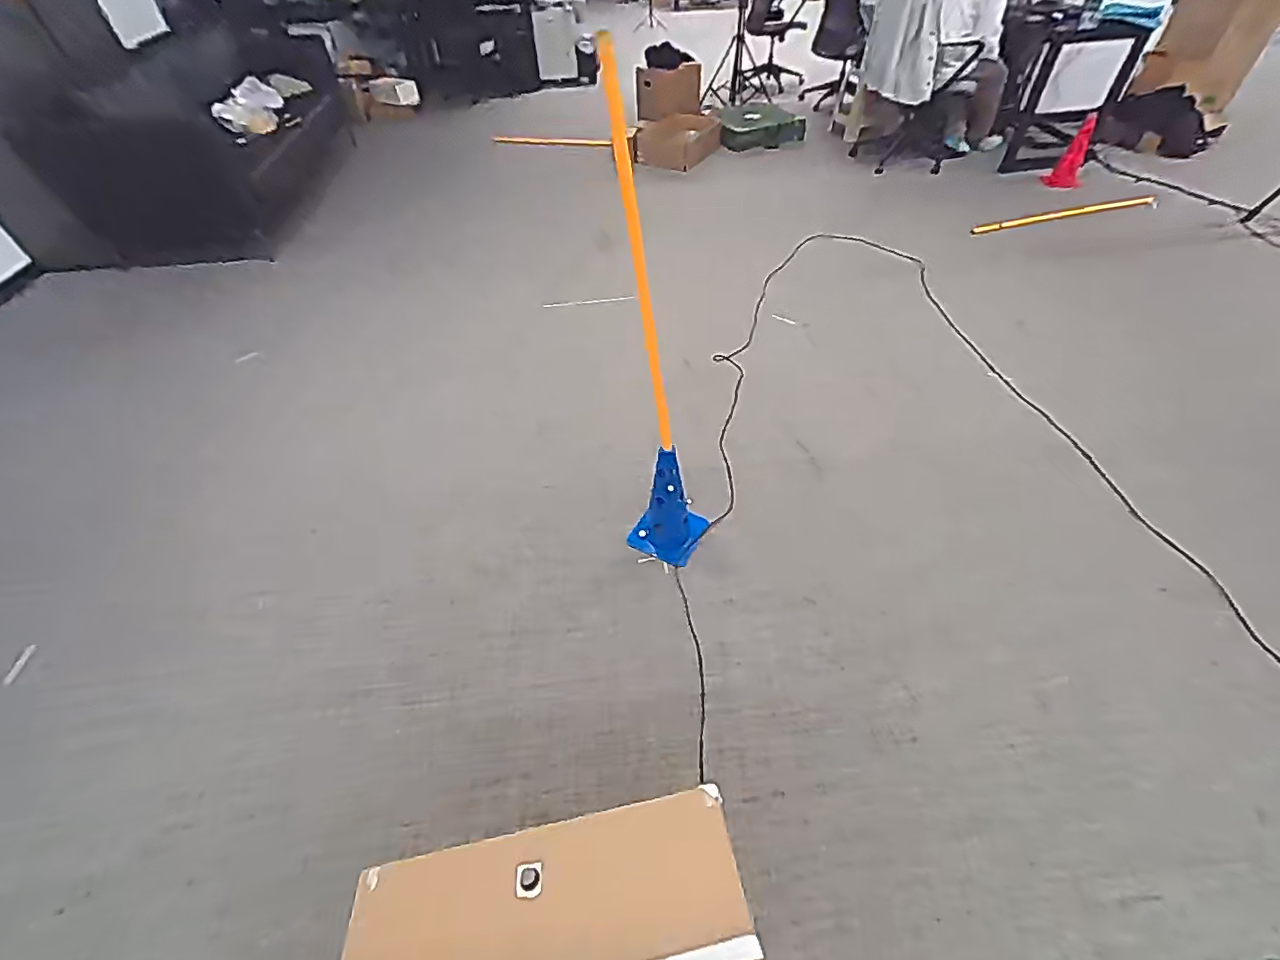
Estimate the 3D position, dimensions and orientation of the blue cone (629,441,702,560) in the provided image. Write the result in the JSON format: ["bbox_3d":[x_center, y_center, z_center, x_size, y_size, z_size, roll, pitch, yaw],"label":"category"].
[{"bbox_3d":[0.072,0.041,1.513,0.192,0.380,0.193,18,52,20],"label":"blue cone"}]
